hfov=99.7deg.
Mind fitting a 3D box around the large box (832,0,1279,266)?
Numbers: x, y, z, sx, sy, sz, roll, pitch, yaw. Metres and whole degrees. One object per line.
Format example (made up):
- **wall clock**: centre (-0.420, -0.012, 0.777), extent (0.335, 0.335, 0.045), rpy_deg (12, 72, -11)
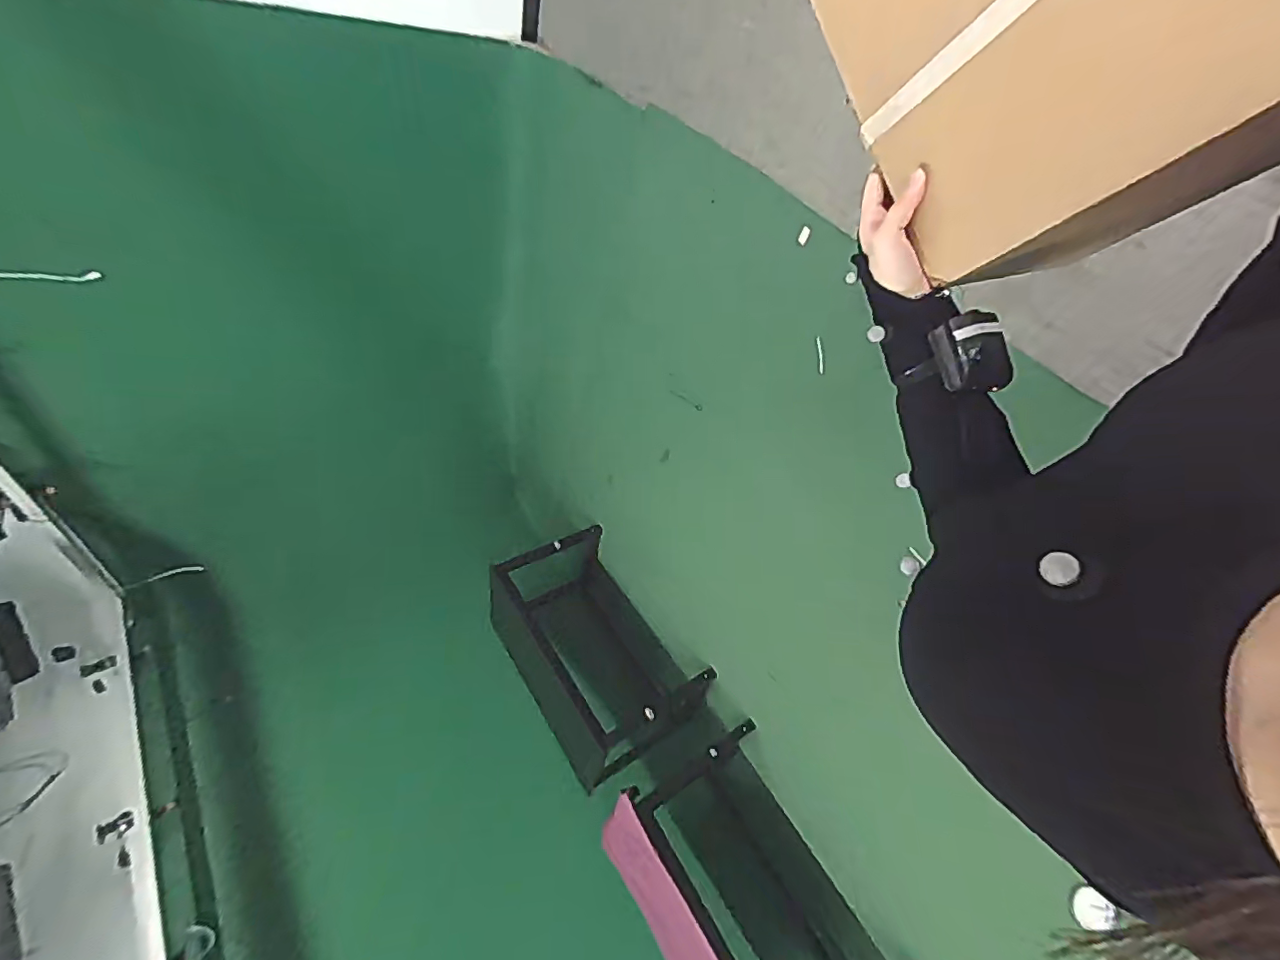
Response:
- **large box**: centre (0.434, -0.414, 0.408), extent (0.408, 0.320, 0.320), rpy_deg (-25, 85, 56)
